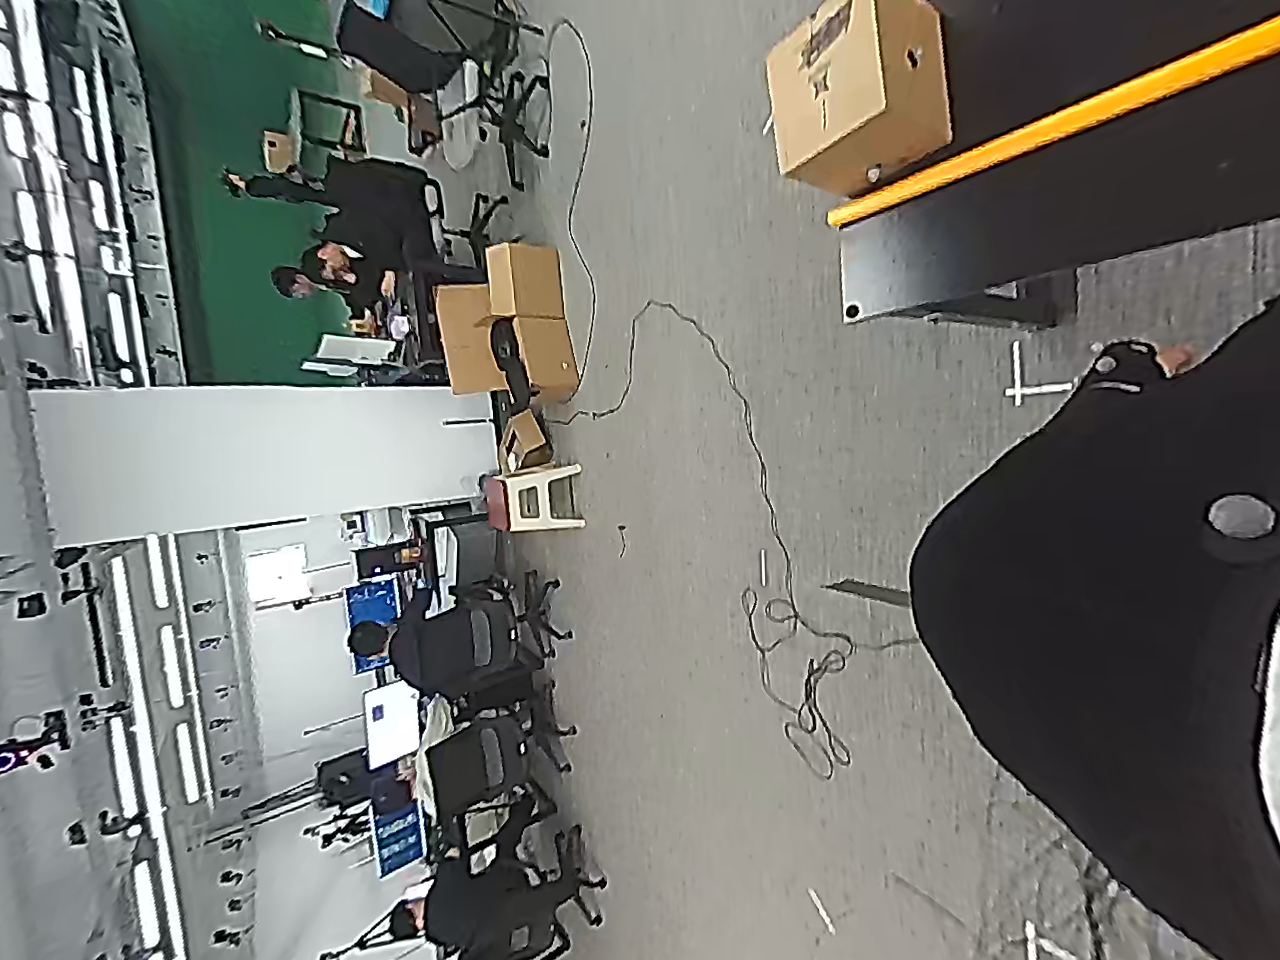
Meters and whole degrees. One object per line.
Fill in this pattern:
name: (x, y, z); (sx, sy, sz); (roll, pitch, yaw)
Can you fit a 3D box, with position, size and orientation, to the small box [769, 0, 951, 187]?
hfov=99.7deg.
small box: (0.304, -0.541, 0.749); (0.168, 0.176, 0.179); (-4, 94, 55)
